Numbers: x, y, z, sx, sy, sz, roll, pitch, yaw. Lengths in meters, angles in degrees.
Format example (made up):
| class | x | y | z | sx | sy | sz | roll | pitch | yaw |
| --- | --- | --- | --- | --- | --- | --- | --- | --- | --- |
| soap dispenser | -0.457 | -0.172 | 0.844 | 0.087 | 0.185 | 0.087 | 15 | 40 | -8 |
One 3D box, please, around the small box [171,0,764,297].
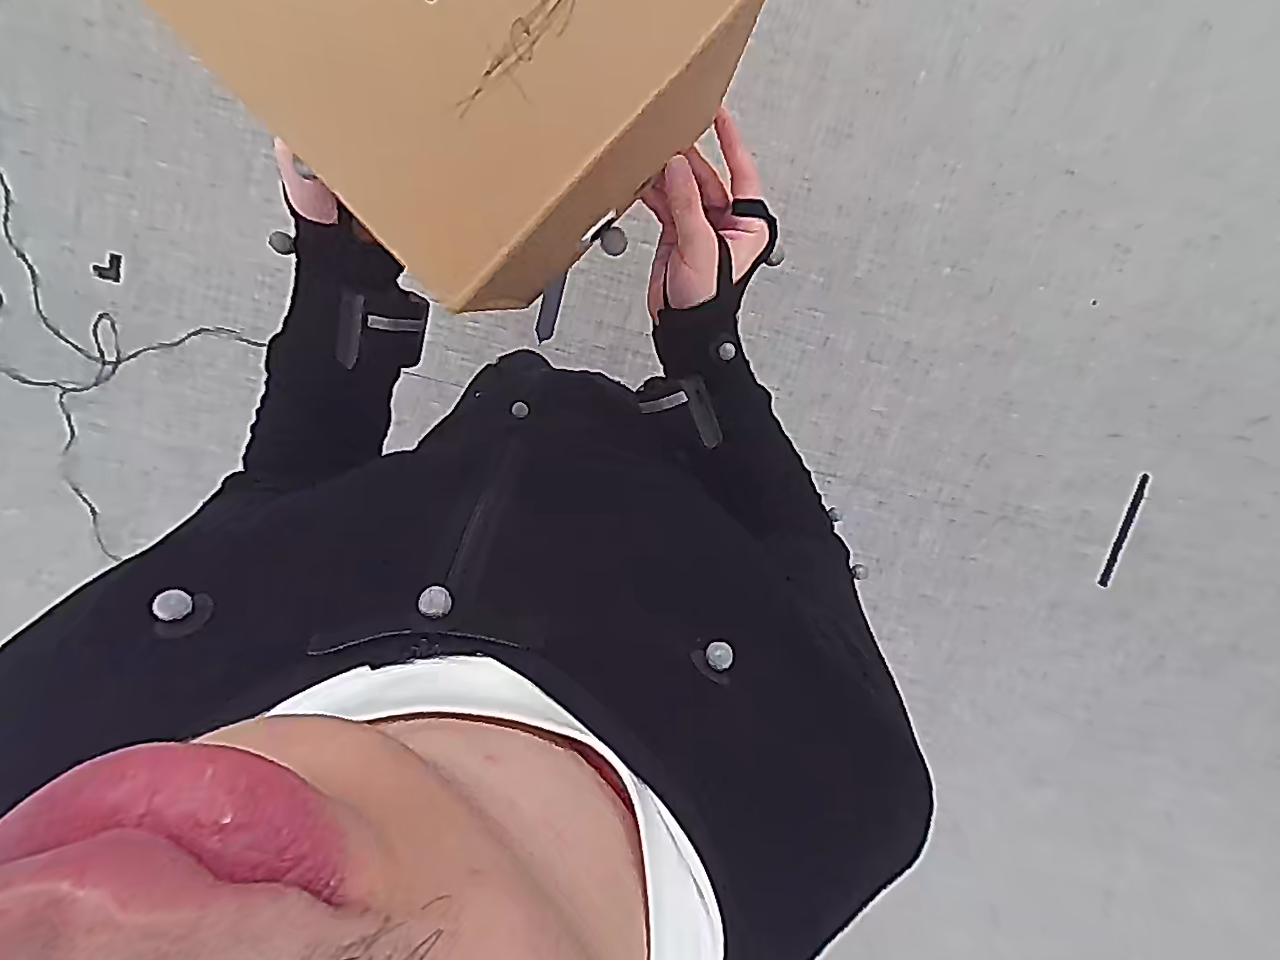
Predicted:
| class | x | y | z | sx | sy | sz | roll | pitch | yaw |
| --- | --- | --- | --- | --- | --- | --- | --- | --- | --- |
| small box | -0.070 | -0.209 | 0.265 | 0.168 | 0.176 | 0.179 | -42 | 104 | 13 |
